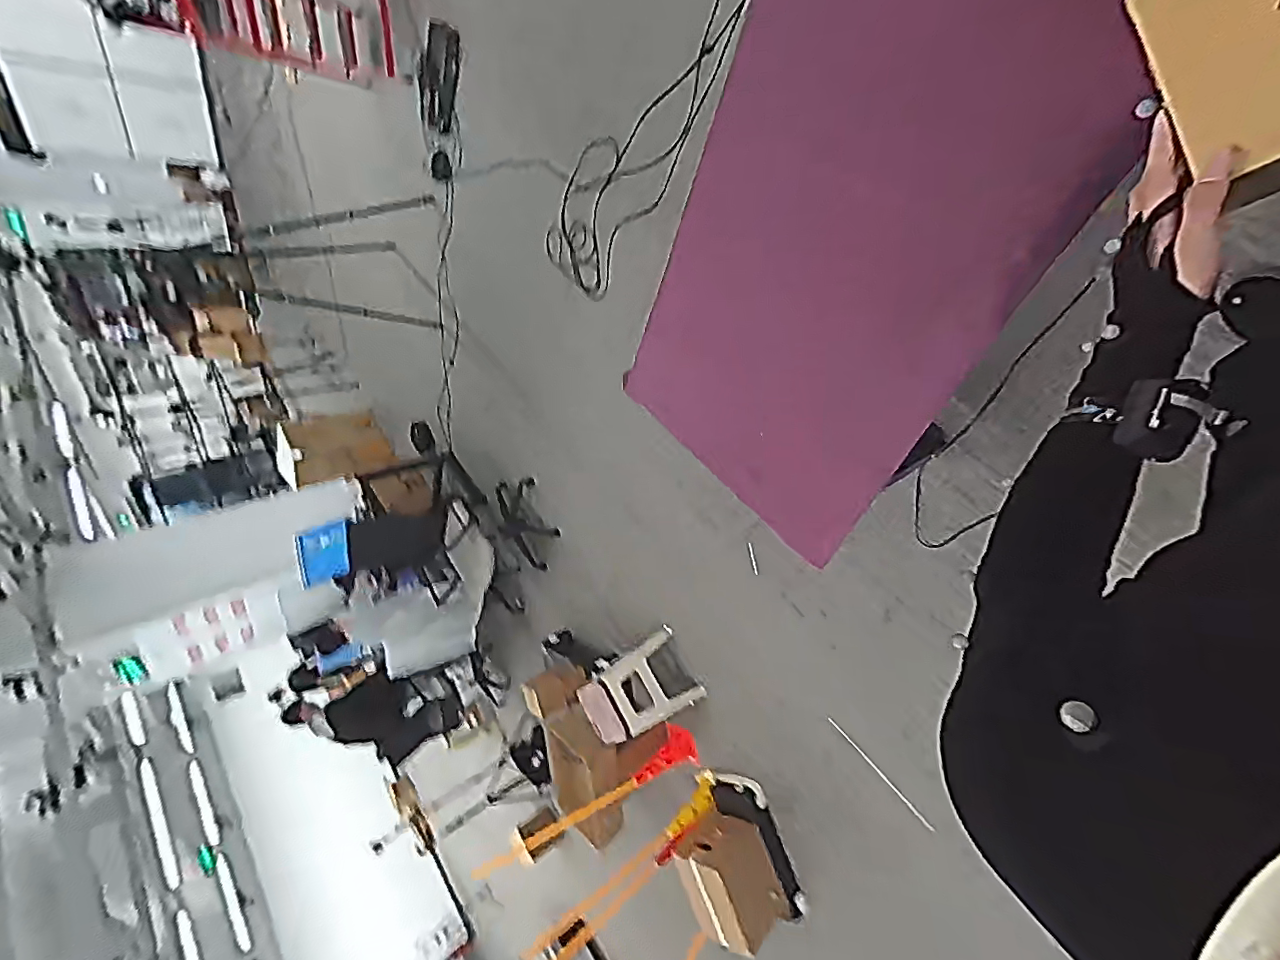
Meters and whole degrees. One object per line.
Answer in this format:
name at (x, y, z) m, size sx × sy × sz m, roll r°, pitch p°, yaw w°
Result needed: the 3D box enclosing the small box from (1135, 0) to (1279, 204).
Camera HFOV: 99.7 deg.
small box at (0.527, -0.339, 0.417) m, size 0.168 × 0.176 × 0.179 m, roll -20°, pitch 85°, yaw 50°
